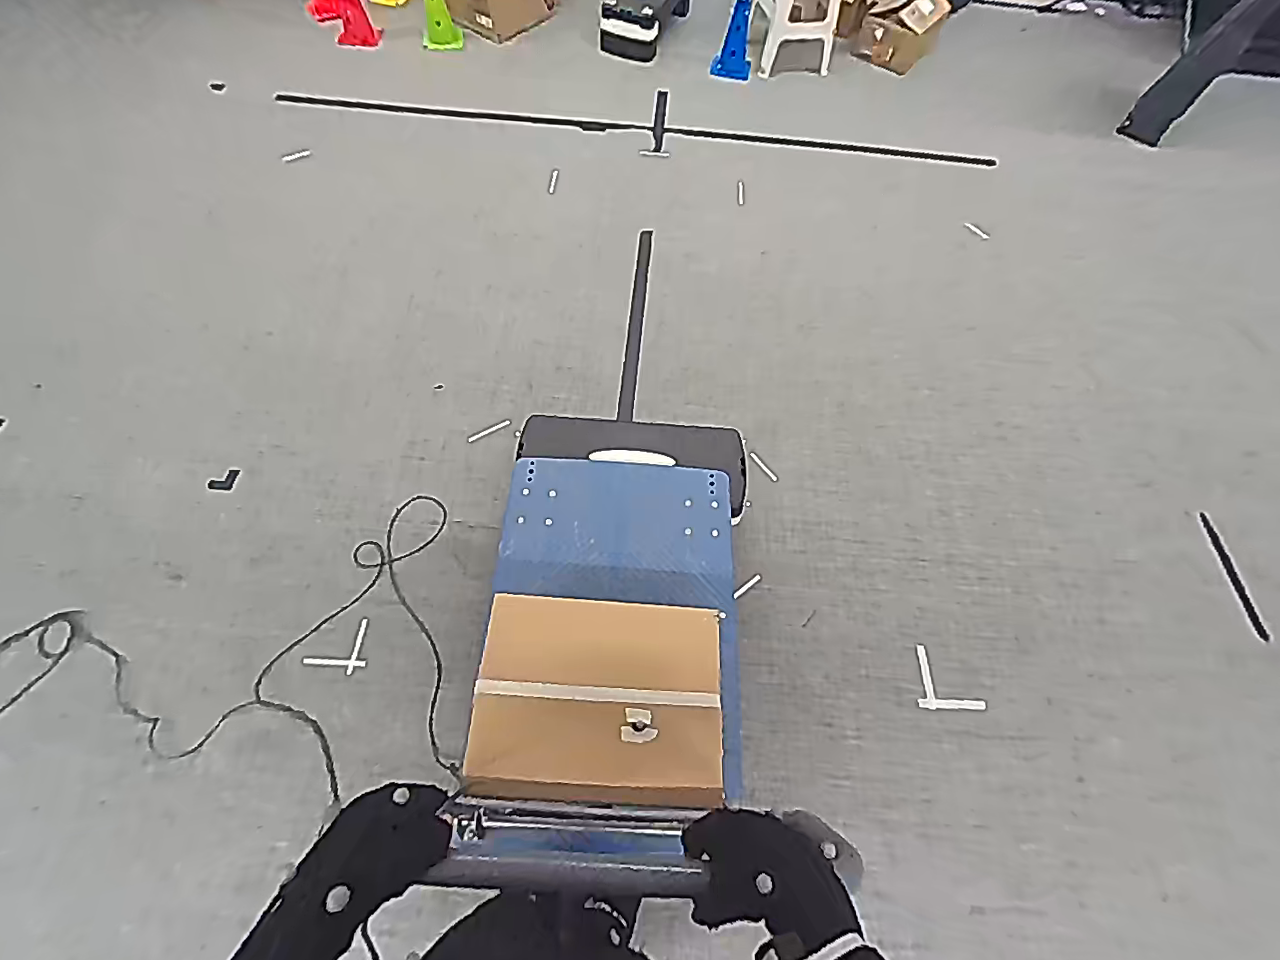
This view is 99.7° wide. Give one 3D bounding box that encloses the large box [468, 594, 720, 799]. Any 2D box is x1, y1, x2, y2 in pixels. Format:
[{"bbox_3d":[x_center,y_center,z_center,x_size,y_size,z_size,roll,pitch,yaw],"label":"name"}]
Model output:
[{"bbox_3d":[-0.079,0.428,1.046,0.408,0.320,0.320,5,61,-3],"label":"large box"}]
